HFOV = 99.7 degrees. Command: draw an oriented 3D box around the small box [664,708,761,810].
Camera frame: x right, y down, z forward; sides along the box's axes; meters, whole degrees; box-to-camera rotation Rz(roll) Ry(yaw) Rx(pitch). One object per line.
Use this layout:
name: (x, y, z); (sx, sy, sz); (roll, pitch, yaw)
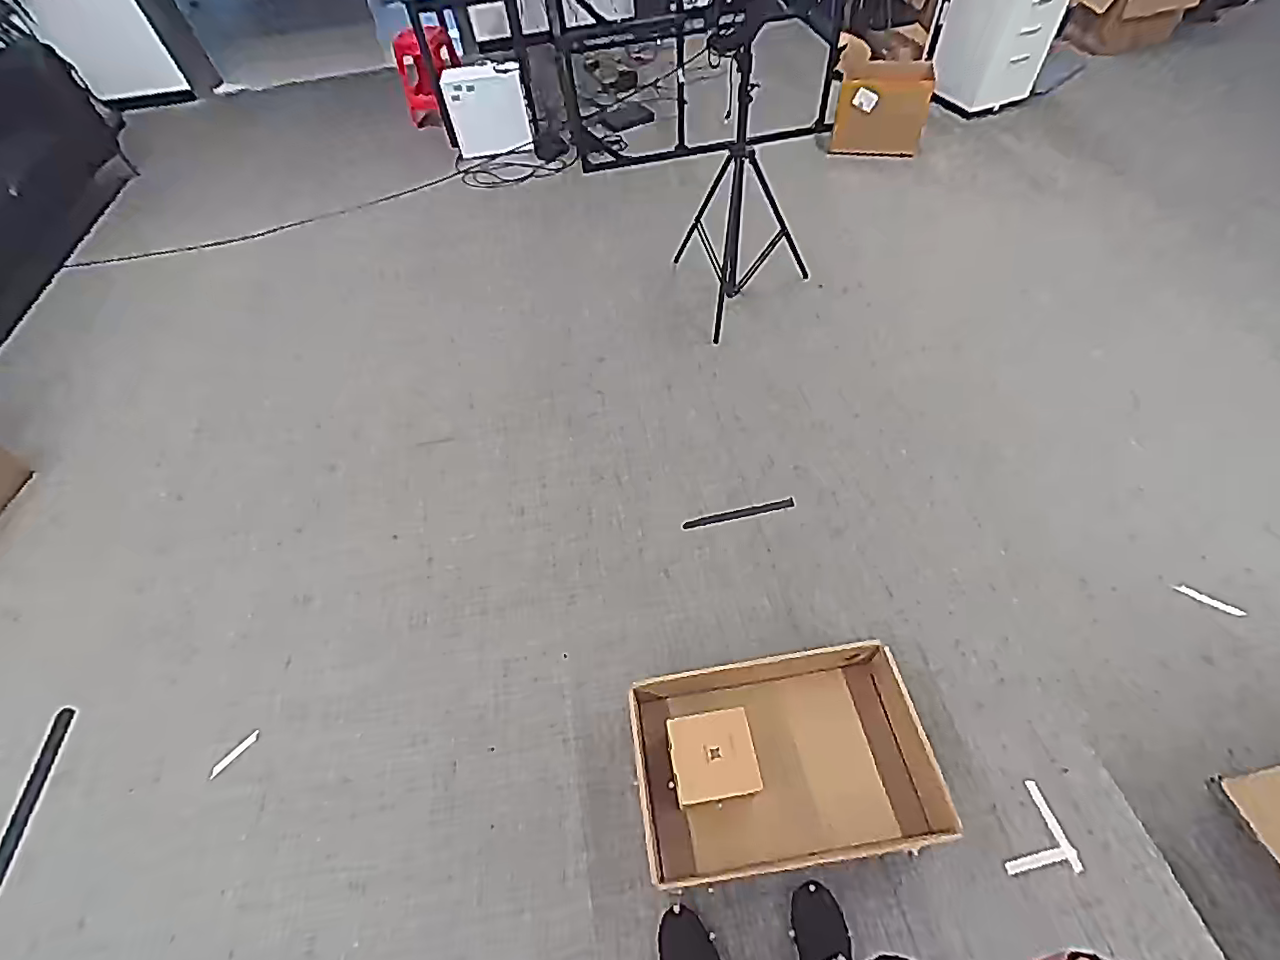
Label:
small box: (0.155, 0.623, 1.203); (0.179, 0.176, 0.168); (-9, 56, -3)
